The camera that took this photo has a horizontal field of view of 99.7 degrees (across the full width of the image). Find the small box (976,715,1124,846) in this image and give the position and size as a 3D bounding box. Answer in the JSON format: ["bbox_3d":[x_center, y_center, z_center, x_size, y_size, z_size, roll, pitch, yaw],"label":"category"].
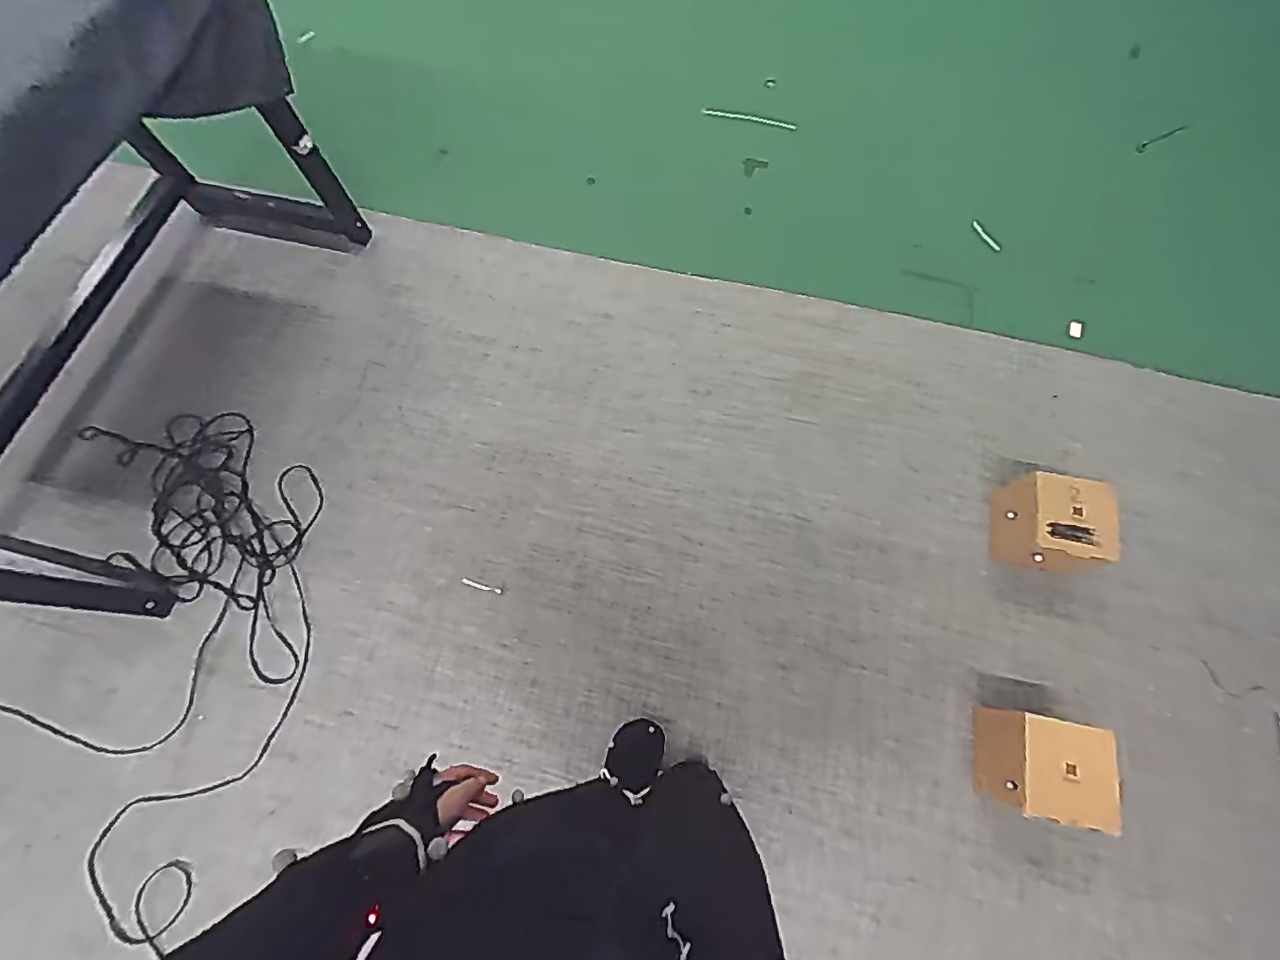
[{"bbox_3d":[0.779,0.566,1.046,0.168,0.176,0.179,11,71,5],"label":"small box"}]
